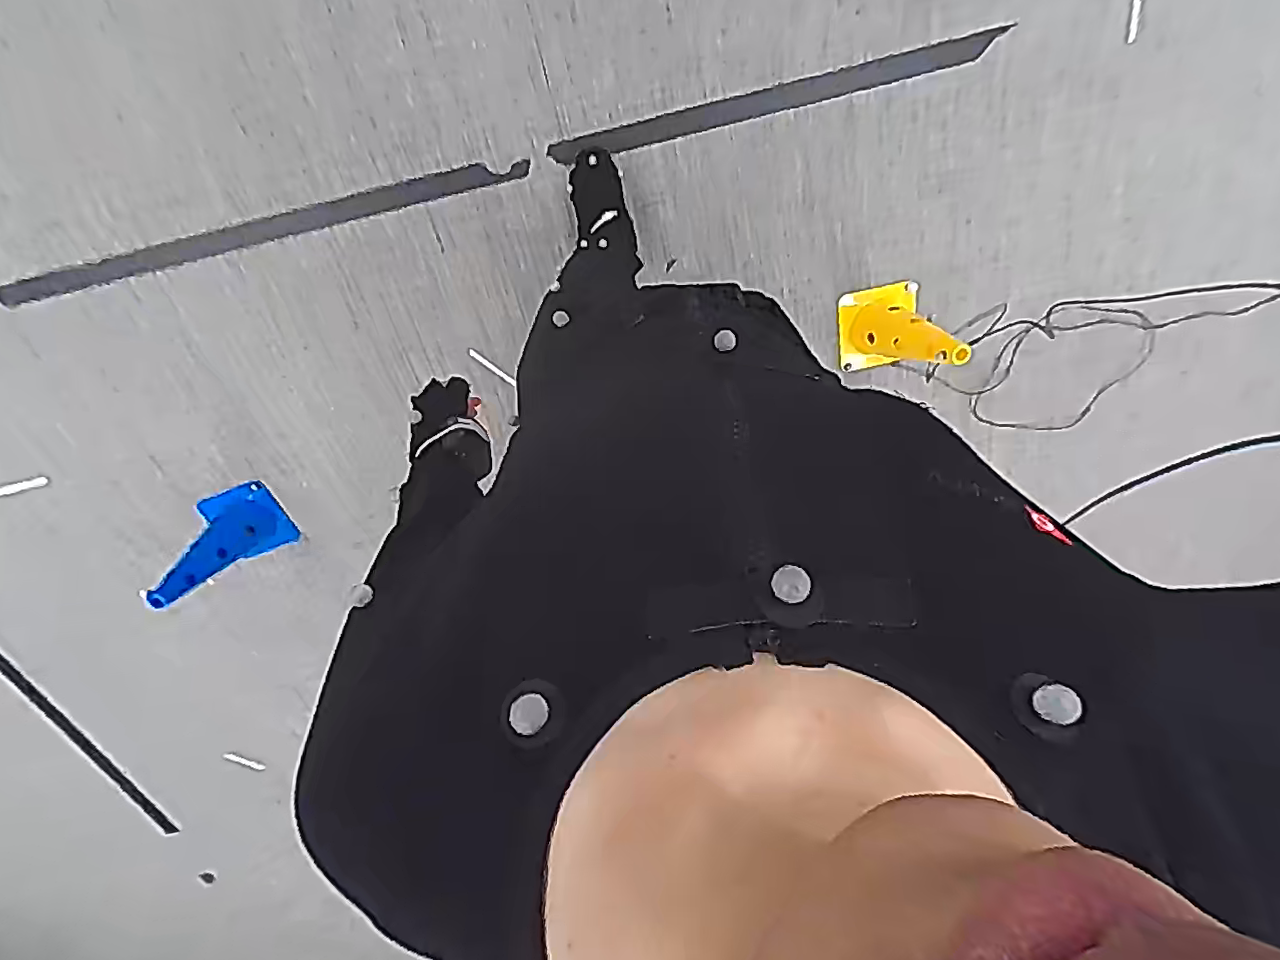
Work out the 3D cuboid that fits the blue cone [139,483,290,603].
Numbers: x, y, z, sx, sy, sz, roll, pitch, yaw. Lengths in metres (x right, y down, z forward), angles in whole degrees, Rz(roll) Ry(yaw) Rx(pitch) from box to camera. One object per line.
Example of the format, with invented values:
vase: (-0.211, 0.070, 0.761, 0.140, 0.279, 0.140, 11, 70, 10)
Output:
blue cone: (-1.062, 0.180, 1.324, 0.193, 0.380, 0.192, -19, 115, 4)
